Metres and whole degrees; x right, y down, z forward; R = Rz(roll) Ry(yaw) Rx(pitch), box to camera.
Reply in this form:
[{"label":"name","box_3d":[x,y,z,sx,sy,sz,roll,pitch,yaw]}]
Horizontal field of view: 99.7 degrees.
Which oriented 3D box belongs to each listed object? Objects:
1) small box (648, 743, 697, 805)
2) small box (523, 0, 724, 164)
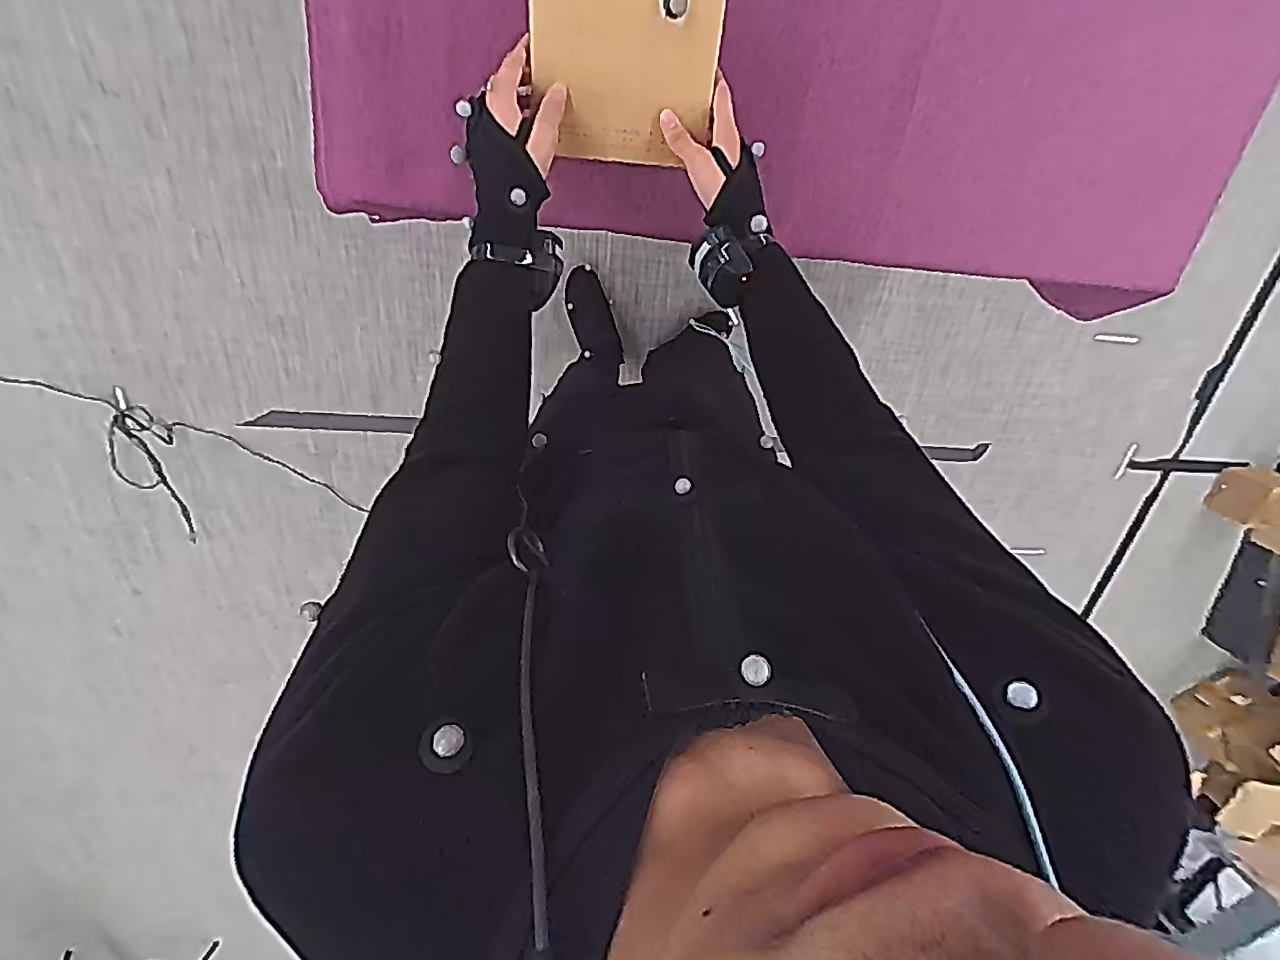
[{"label":"small box","box_3d":[0.130,1.231,2.279,0.168,0.176,0.179,2,117,-10]},{"label":"small box","box_3d":[-0.026,-0.428,0.550,0.179,0.168,0.176,-1,125,-10]}]
